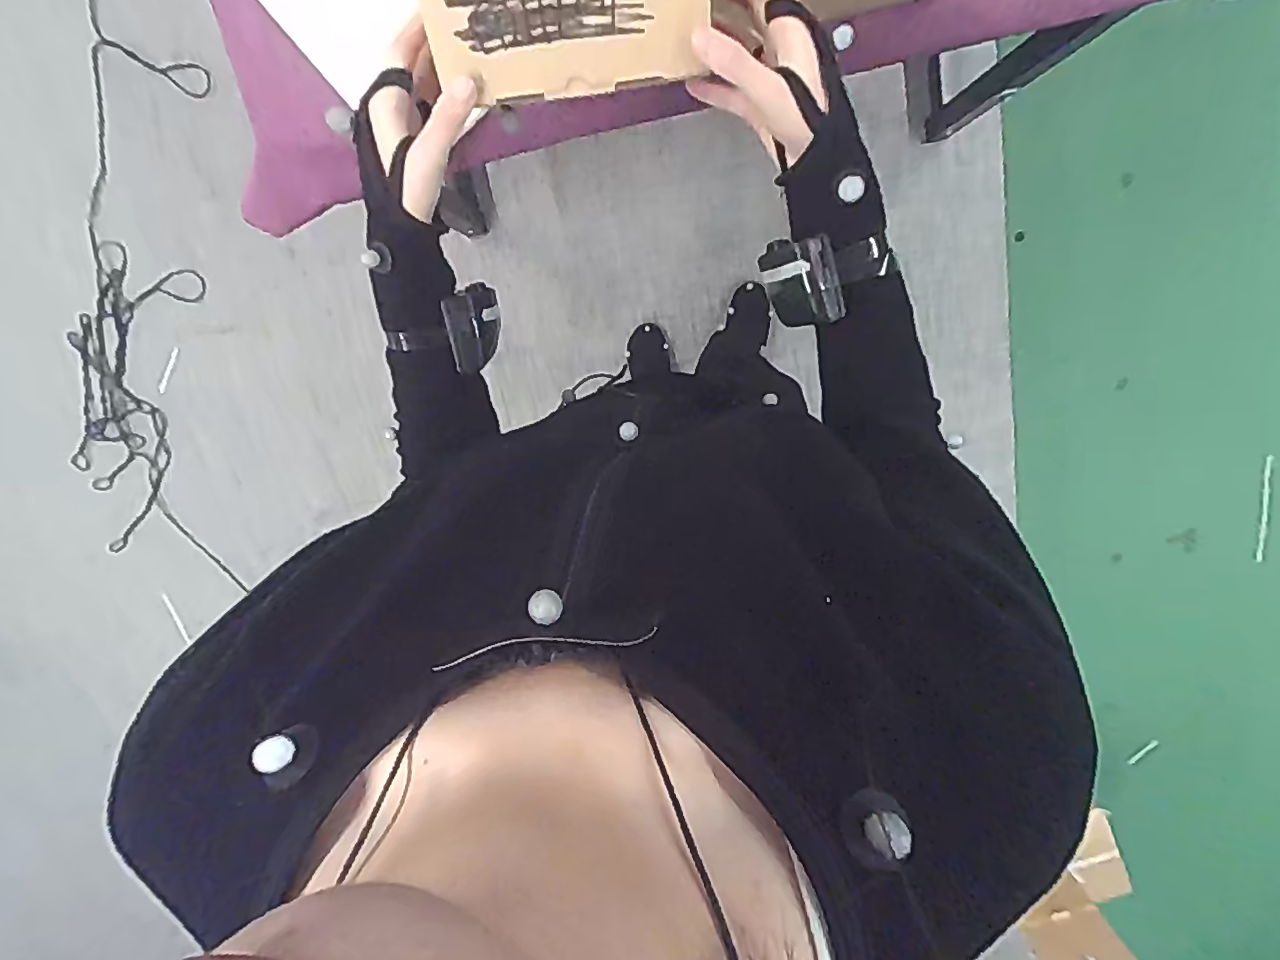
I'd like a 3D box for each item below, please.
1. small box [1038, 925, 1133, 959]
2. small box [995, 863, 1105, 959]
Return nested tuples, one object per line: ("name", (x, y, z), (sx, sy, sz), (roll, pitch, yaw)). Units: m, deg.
("small box", (1.025, 1.143, 1.192), (0.179, 0.176, 0.168), (-26, 101, 8))
("small box", (1.032, 1.100, 1.350), (0.168, 0.176, 0.179), (-25, 102, 8))
